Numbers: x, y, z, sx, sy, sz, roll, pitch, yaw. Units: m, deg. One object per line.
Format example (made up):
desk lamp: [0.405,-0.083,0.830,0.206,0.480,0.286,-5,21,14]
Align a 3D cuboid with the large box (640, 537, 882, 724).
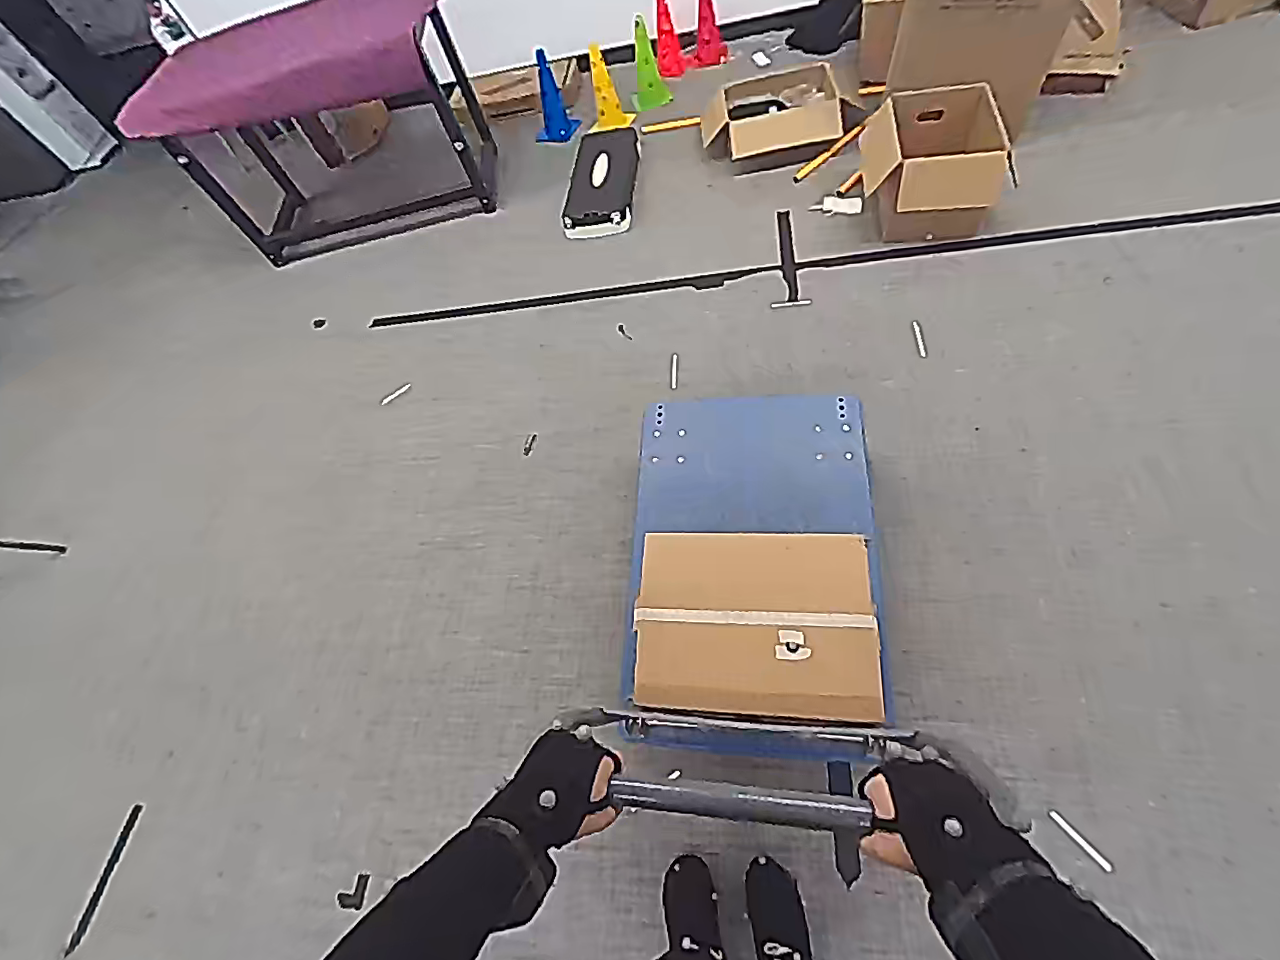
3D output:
large box: [0.224,0.313,1.090,0.408,0.320,0.320,-1,65,11]
